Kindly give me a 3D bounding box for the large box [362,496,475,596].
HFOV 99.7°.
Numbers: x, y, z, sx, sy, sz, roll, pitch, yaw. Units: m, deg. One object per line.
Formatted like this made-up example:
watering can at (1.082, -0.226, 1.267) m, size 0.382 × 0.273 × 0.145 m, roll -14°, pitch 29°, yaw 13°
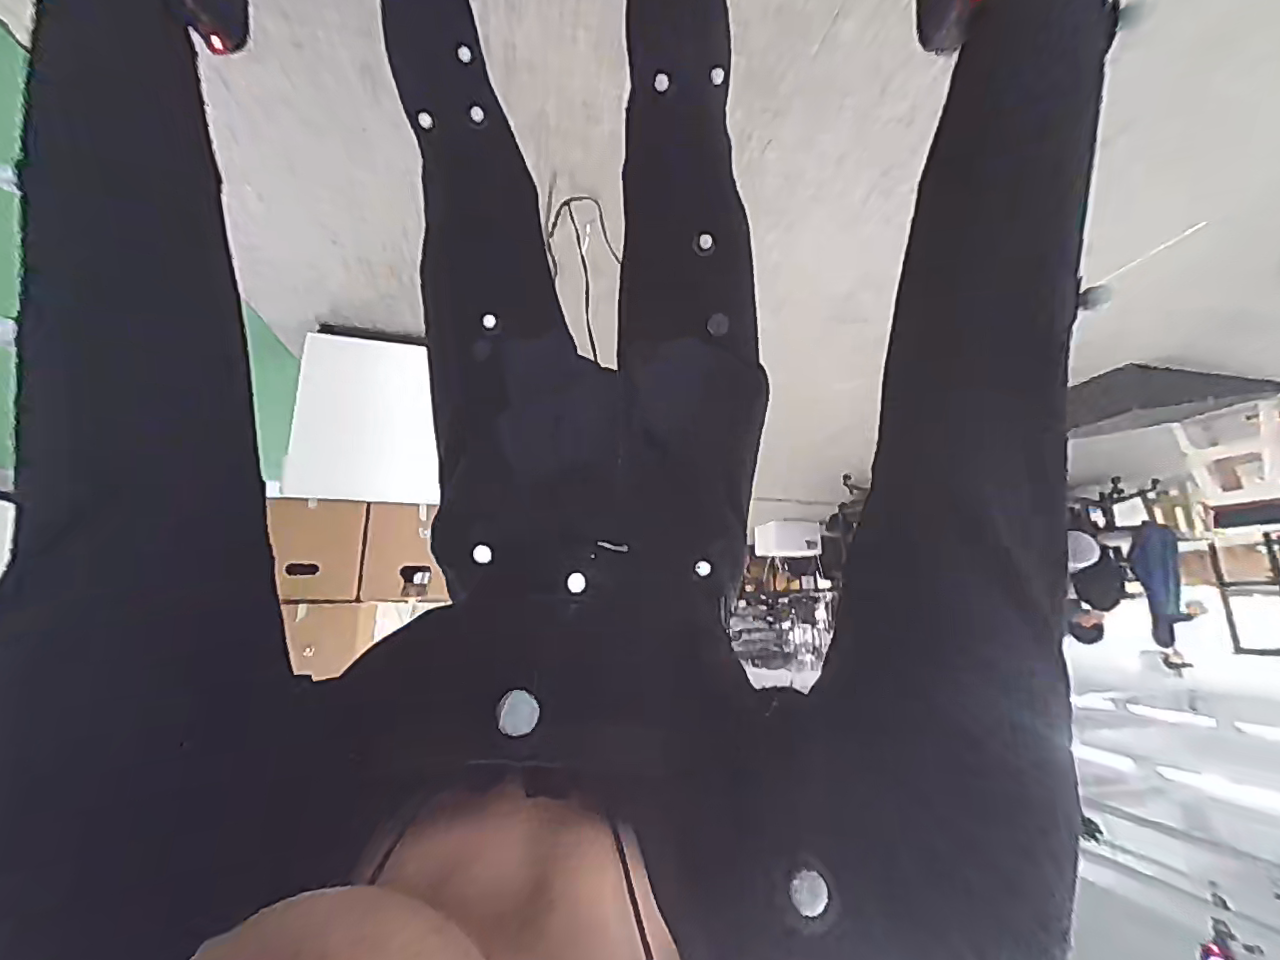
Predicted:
large box at (-0.753, 0.245, 1.898) m, size 0.320 × 0.320 × 0.408 m, roll 4°, pitch 167°, yaw -15°
